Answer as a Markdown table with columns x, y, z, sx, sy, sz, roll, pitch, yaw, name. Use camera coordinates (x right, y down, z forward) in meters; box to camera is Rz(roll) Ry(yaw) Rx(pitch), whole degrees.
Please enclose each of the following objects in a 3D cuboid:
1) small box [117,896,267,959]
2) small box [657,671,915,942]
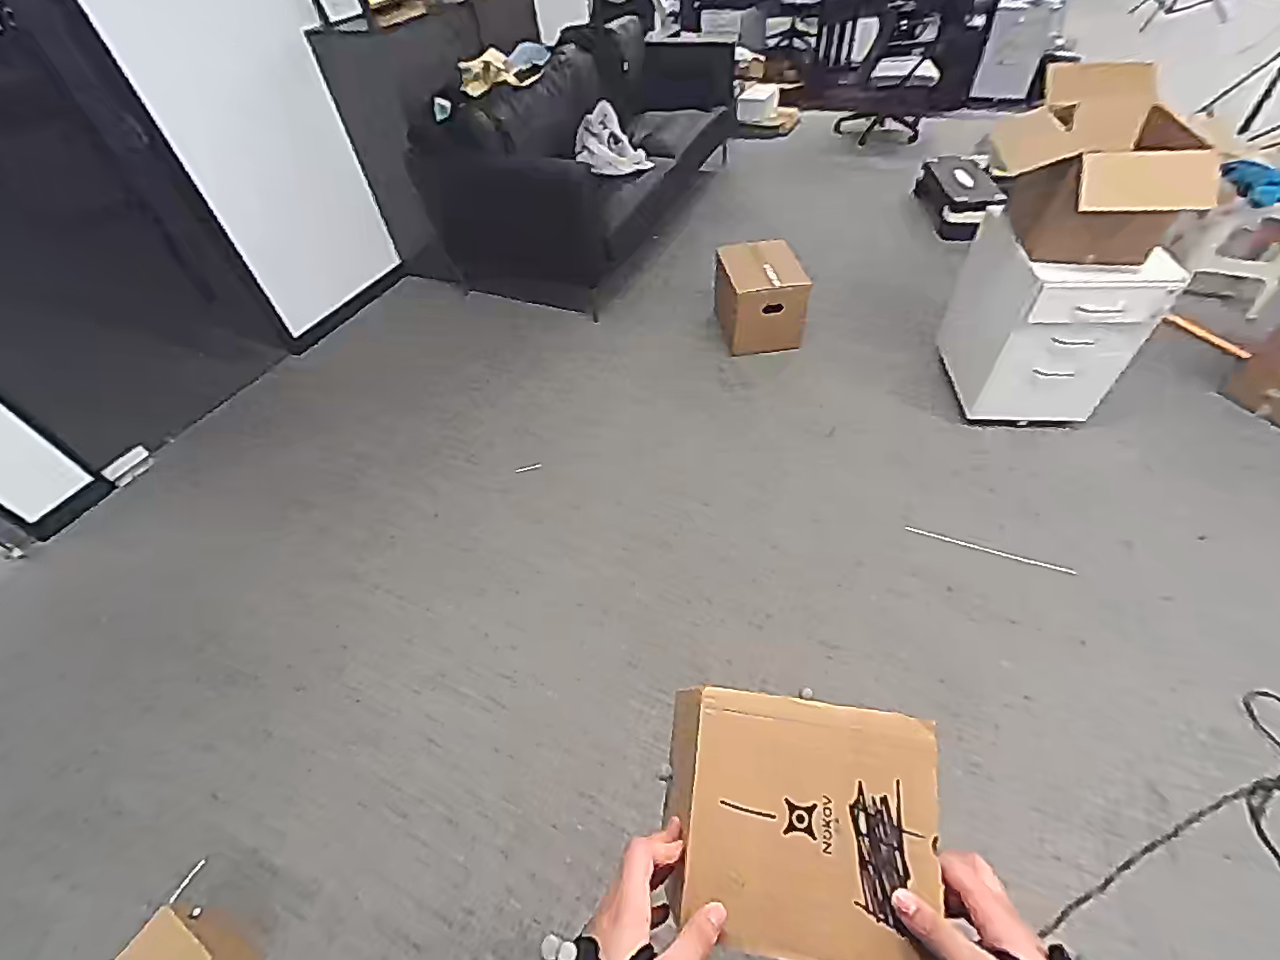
| x | y | z | sx | sy | sz | roll | pitch | yaw | name |
| --- | --- | --- | --- | --- | --- | --- | --- | --- | --- |
| -0.909 | 0.982 | 1.082 | 0.179 | 0.176 | 0.168 | 21 | 55 | 22 | small box |
| 0.117 | 0.273 | 0.488 | 0.179 | 0.176 | 0.168 | 8 | 66 | 0 | small box |
